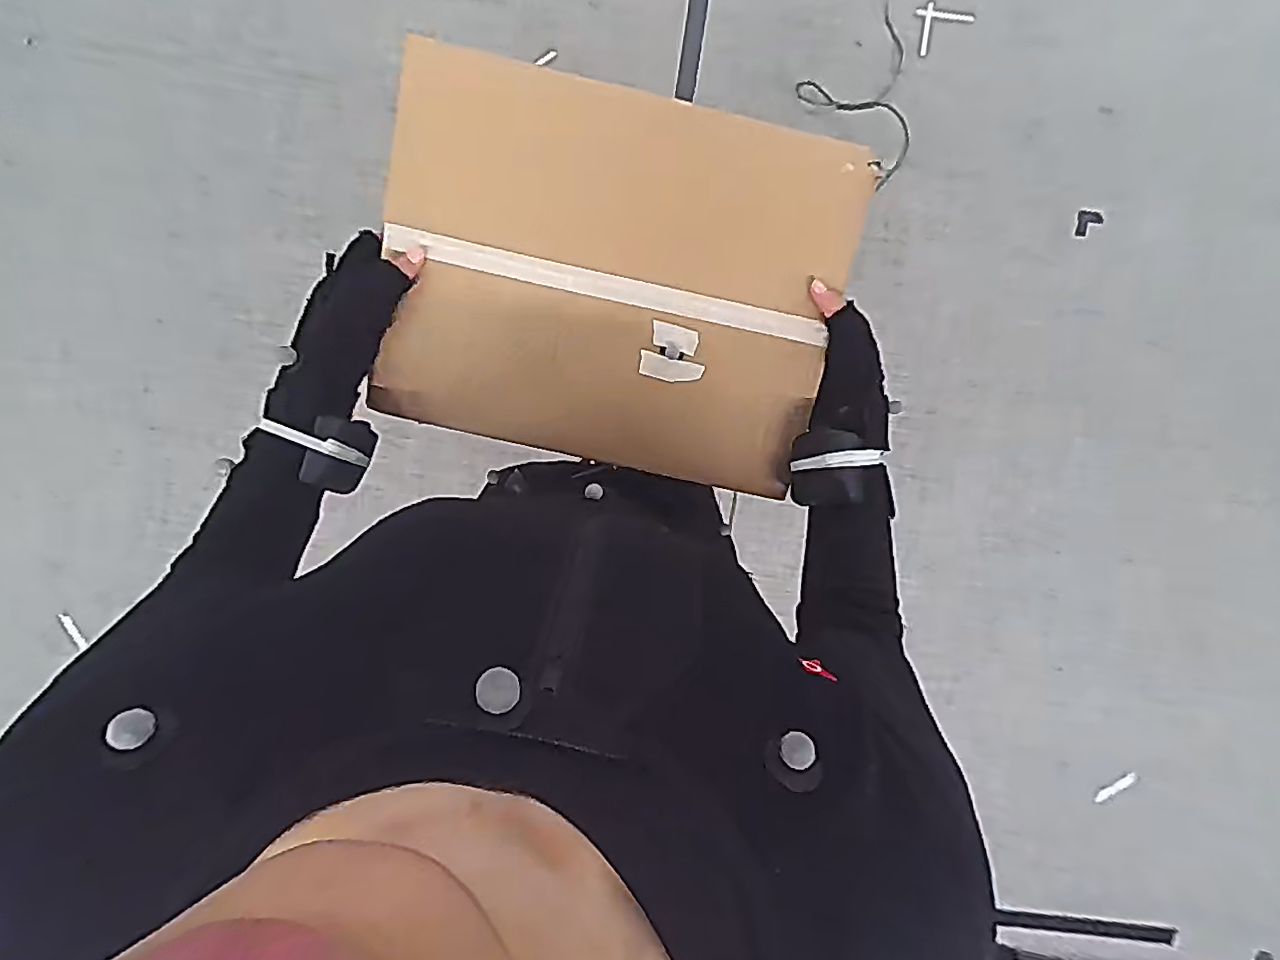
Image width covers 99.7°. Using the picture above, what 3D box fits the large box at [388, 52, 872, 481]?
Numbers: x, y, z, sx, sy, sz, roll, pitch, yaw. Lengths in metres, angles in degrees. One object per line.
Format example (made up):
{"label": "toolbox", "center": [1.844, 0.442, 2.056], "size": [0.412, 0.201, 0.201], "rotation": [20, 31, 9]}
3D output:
{"label": "large box", "center": [-0.022, -0.212, 0.640], "size": [0.408, 0.320, 0.320], "rotation": [12, 103, -3]}
